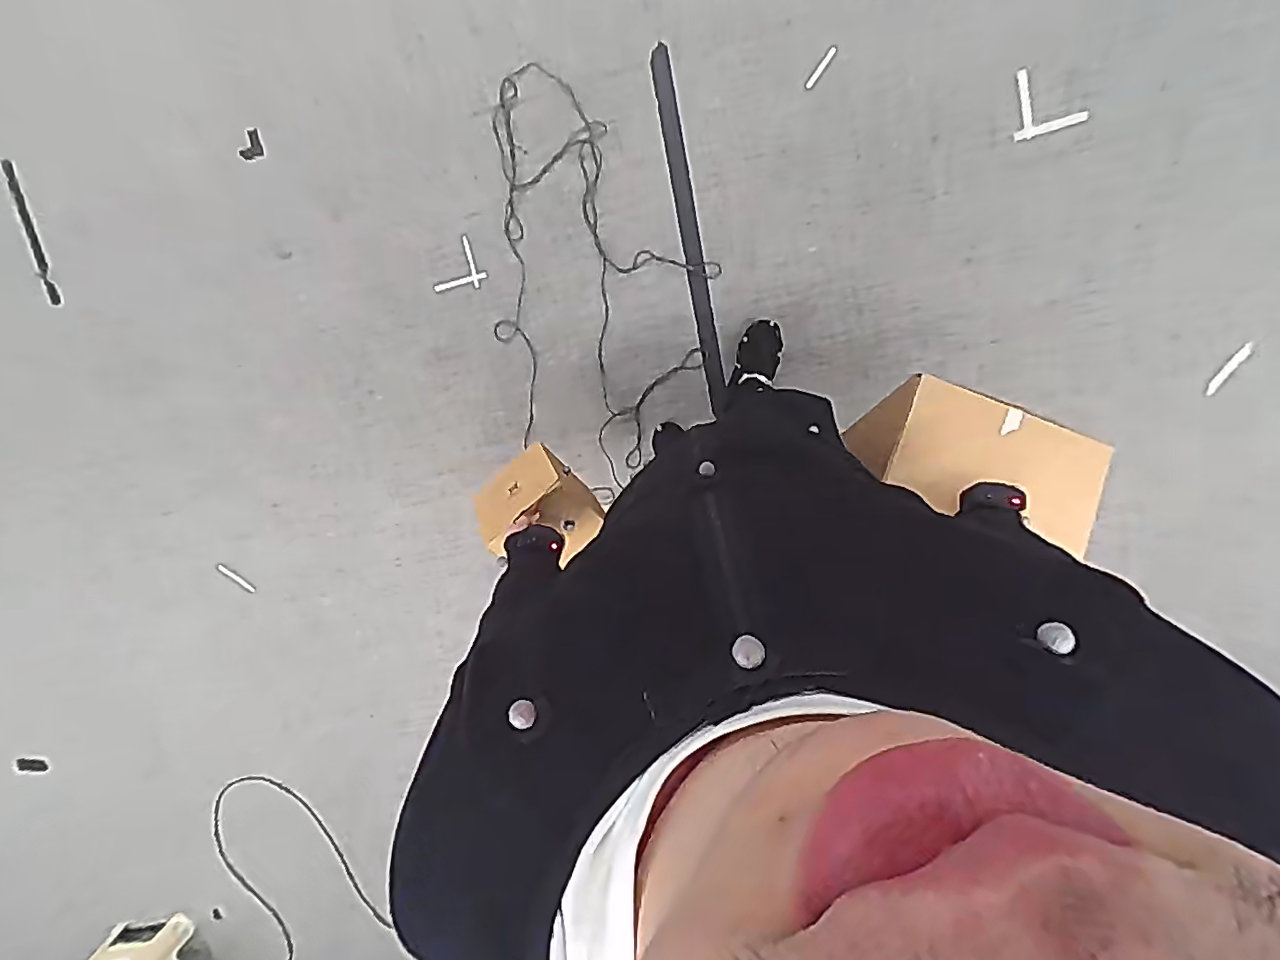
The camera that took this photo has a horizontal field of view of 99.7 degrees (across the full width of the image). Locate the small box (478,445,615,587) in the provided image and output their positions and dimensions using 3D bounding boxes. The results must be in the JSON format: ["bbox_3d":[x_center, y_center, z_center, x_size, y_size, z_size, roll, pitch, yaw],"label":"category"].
[{"bbox_3d":[-0.171,0.072,0.994,0.168,0.179,0.176,-41,123,1],"label":"small box"}]
